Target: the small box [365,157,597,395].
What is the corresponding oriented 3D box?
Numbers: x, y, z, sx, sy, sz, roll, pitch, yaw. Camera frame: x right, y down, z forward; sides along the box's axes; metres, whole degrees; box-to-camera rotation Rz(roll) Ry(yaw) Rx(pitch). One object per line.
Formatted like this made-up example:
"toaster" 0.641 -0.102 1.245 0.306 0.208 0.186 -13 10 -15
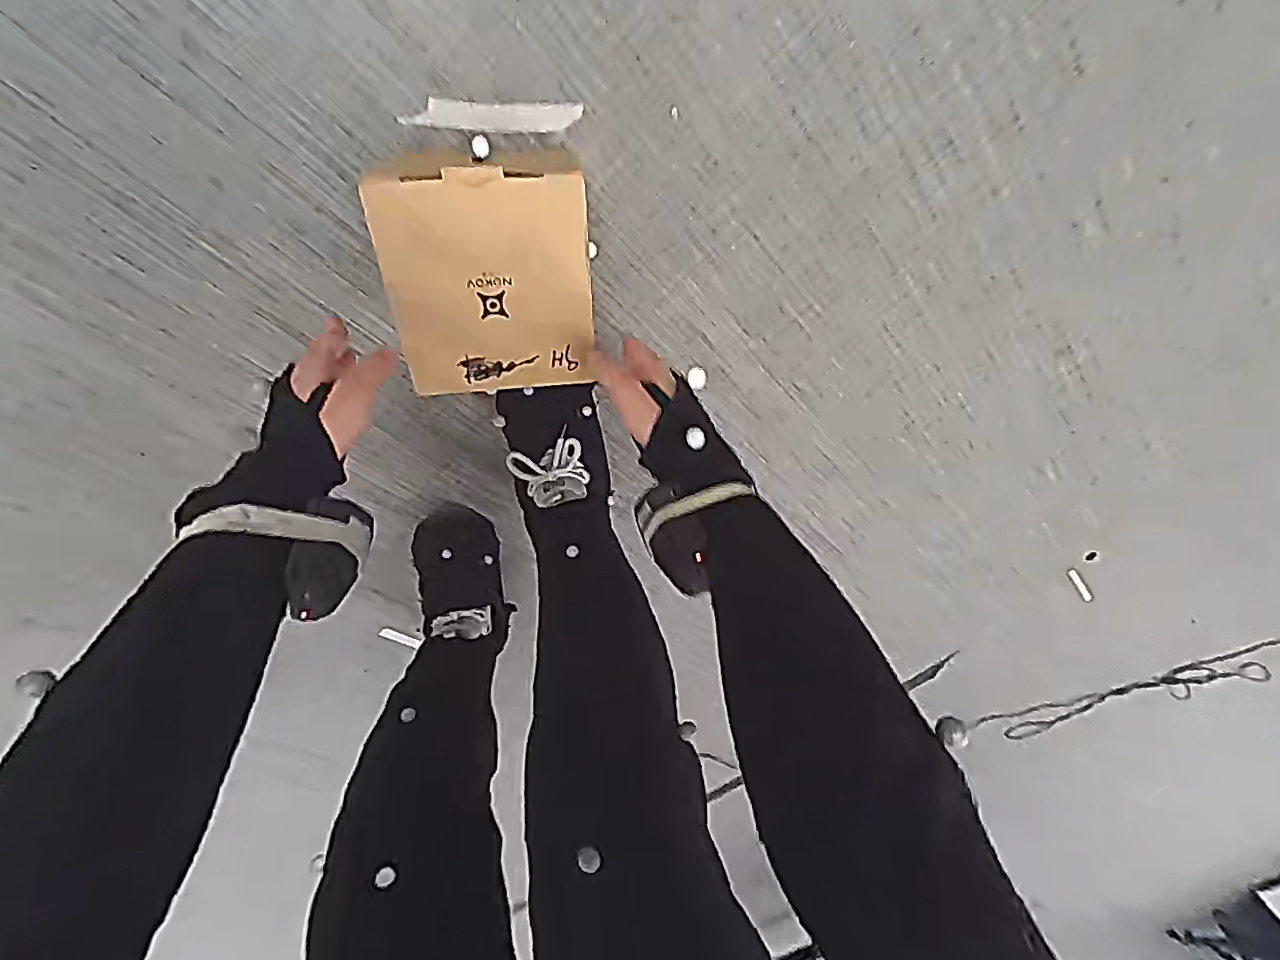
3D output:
"small box" -0.134 -0.199 0.510 0.168 0.176 0.179 -6 126 -8
